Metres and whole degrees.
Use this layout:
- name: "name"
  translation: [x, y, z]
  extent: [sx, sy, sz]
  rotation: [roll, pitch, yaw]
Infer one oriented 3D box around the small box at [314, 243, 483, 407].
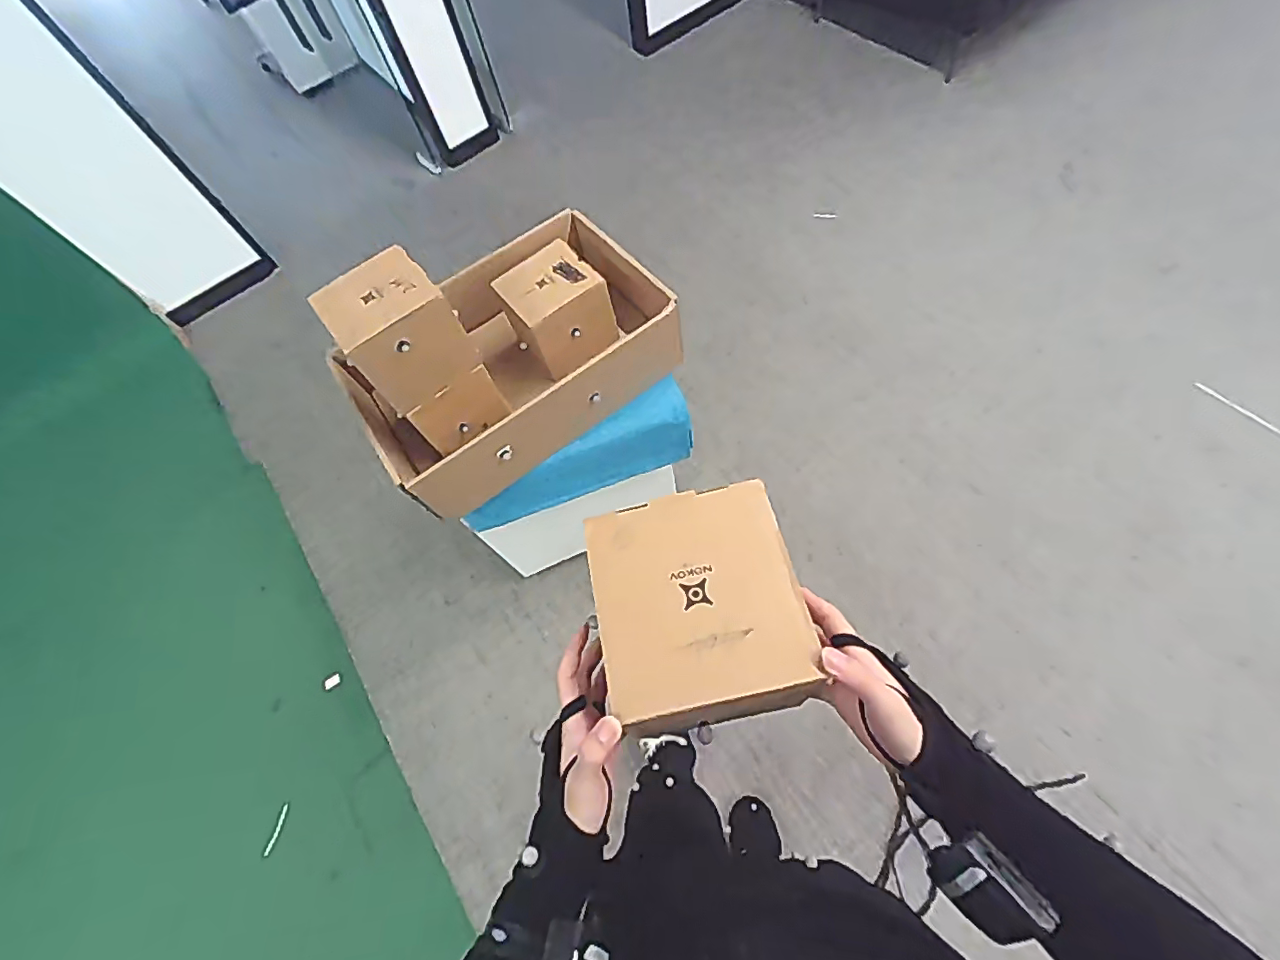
- name: "small box"
  translation: [-0.405, -0.259, 0.929]
  extent: [0.179, 0.176, 0.168]
  rotation: [-37, 64, -11]
